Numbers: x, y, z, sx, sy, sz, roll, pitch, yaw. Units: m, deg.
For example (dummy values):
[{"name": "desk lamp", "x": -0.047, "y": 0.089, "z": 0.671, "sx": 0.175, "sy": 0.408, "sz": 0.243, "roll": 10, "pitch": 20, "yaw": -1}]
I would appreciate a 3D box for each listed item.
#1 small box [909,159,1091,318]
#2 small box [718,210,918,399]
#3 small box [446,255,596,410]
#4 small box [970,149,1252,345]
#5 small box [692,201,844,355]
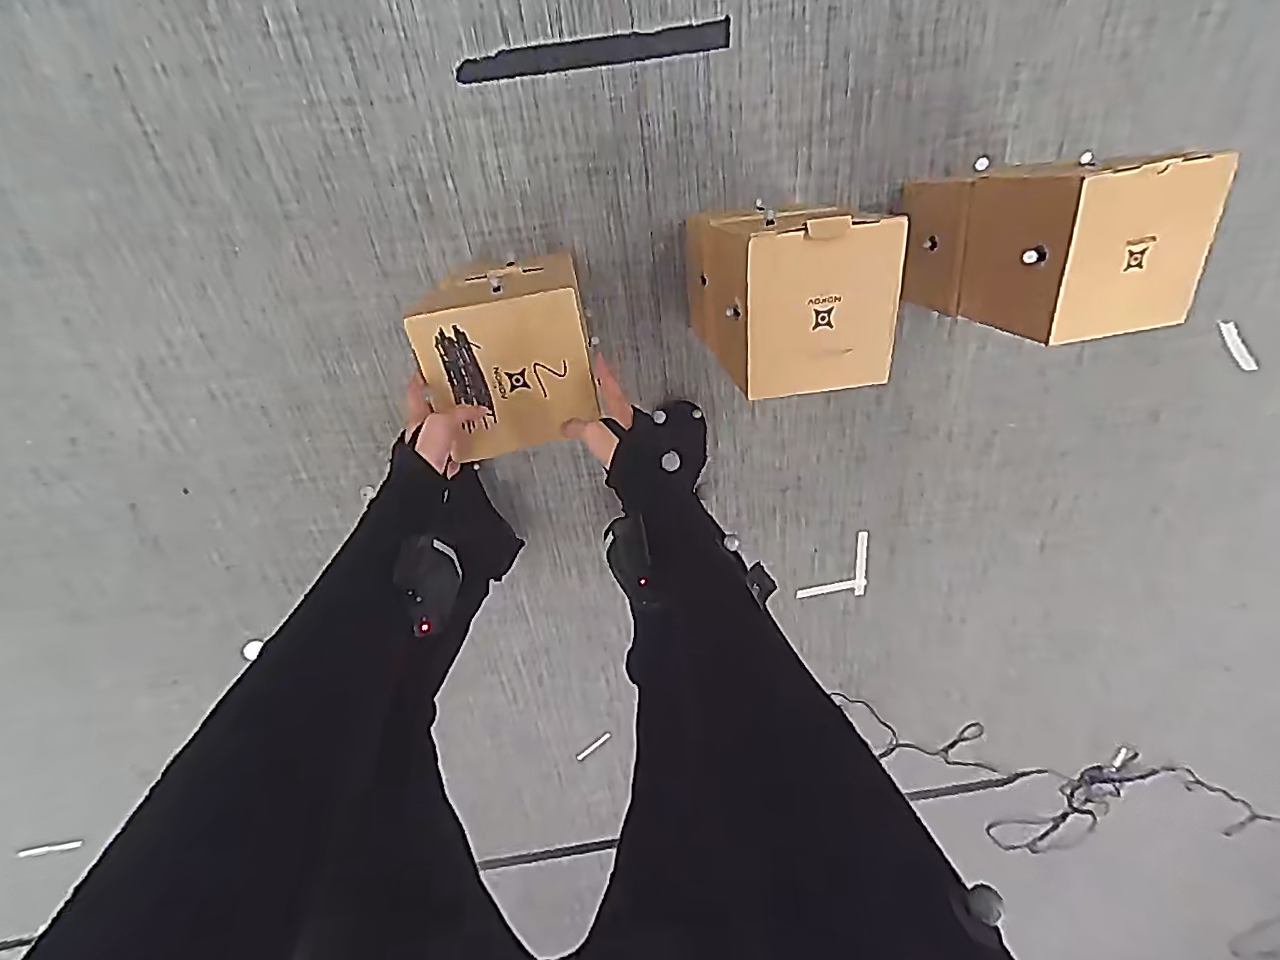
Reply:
[{"name": "small box", "x": 0.506, "y": -0.351, "z": 0.783, "sx": 0.168, "sy": 0.176, "sz": 0.179, "roll": -11, "pitch": 118, "yaw": -1}, {"name": "small box", "x": 0.190, "y": -0.211, "z": 0.631, "sx": 0.168, "sy": 0.176, "sz": 0.179, "roll": -7, "pitch": 118, "yaw": -2}, {"name": "small box", "x": -0.159, "y": -0.219, "z": 0.774, "sx": 0.168, "sy": 0.176, "sz": 0.179, "roll": -9, "pitch": 118, "yaw": -2}, {"name": "small box", "x": 0.526, "y": -0.276, "z": 0.640, "sx": 0.168, "sy": 0.176, "sz": 0.179, "roll": -10, "pitch": 118, "yaw": -2}, {"name": "small box", "x": 0.170, "y": -0.293, "z": 0.772, "sx": 0.168, "sy": 0.176, "sz": 0.179, "roll": -7, "pitch": 119, "yaw": -3}]
